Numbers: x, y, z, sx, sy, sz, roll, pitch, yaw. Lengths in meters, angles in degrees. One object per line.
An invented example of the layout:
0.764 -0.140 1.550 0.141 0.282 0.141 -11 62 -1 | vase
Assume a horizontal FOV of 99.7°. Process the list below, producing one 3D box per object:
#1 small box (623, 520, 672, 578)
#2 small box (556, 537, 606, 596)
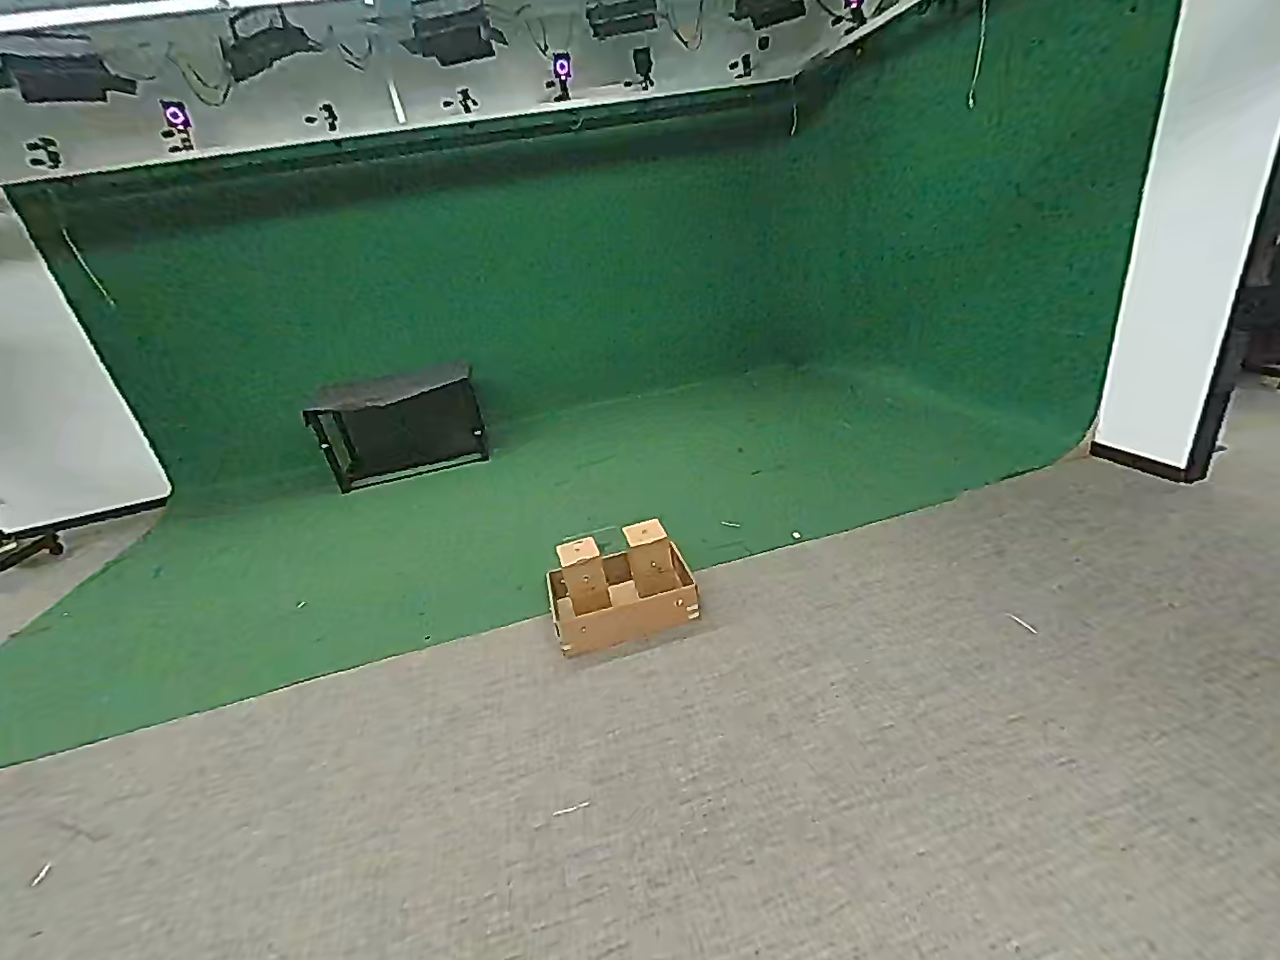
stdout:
0.032 0.303 2.370 0.168 0.176 0.179 -15 27 -8 | small box
-0.251 0.378 2.315 0.168 0.176 0.179 -15 27 -11 | small box
